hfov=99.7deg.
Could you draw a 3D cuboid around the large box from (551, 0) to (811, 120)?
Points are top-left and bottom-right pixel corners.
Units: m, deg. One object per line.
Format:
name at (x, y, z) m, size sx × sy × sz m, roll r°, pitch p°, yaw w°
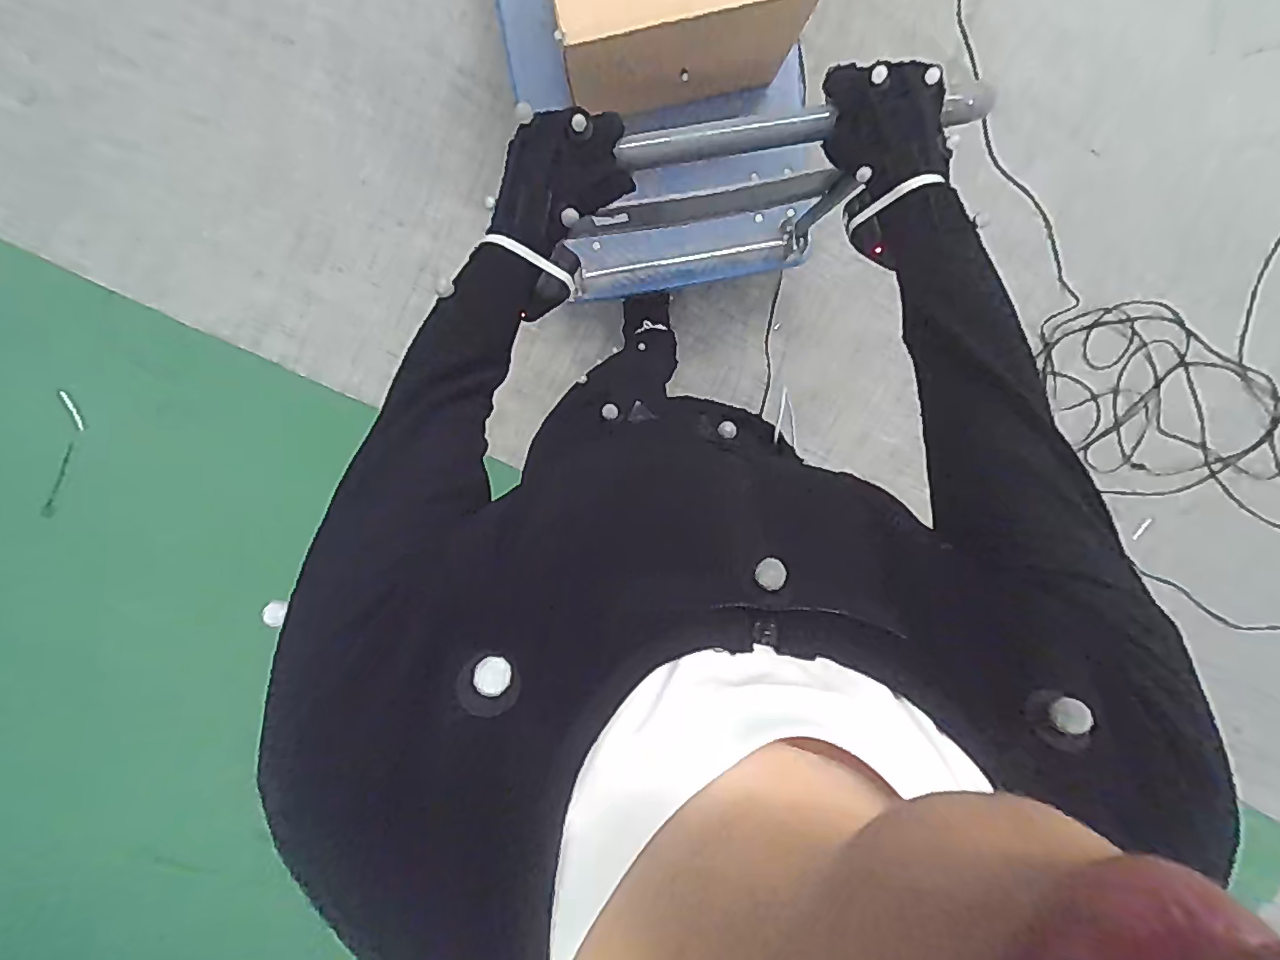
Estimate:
large box at (0.043, -0.876, 0.915) m, size 0.408 × 0.320 × 0.320 m, roll -12°, pitch 104°, yaw 2°
